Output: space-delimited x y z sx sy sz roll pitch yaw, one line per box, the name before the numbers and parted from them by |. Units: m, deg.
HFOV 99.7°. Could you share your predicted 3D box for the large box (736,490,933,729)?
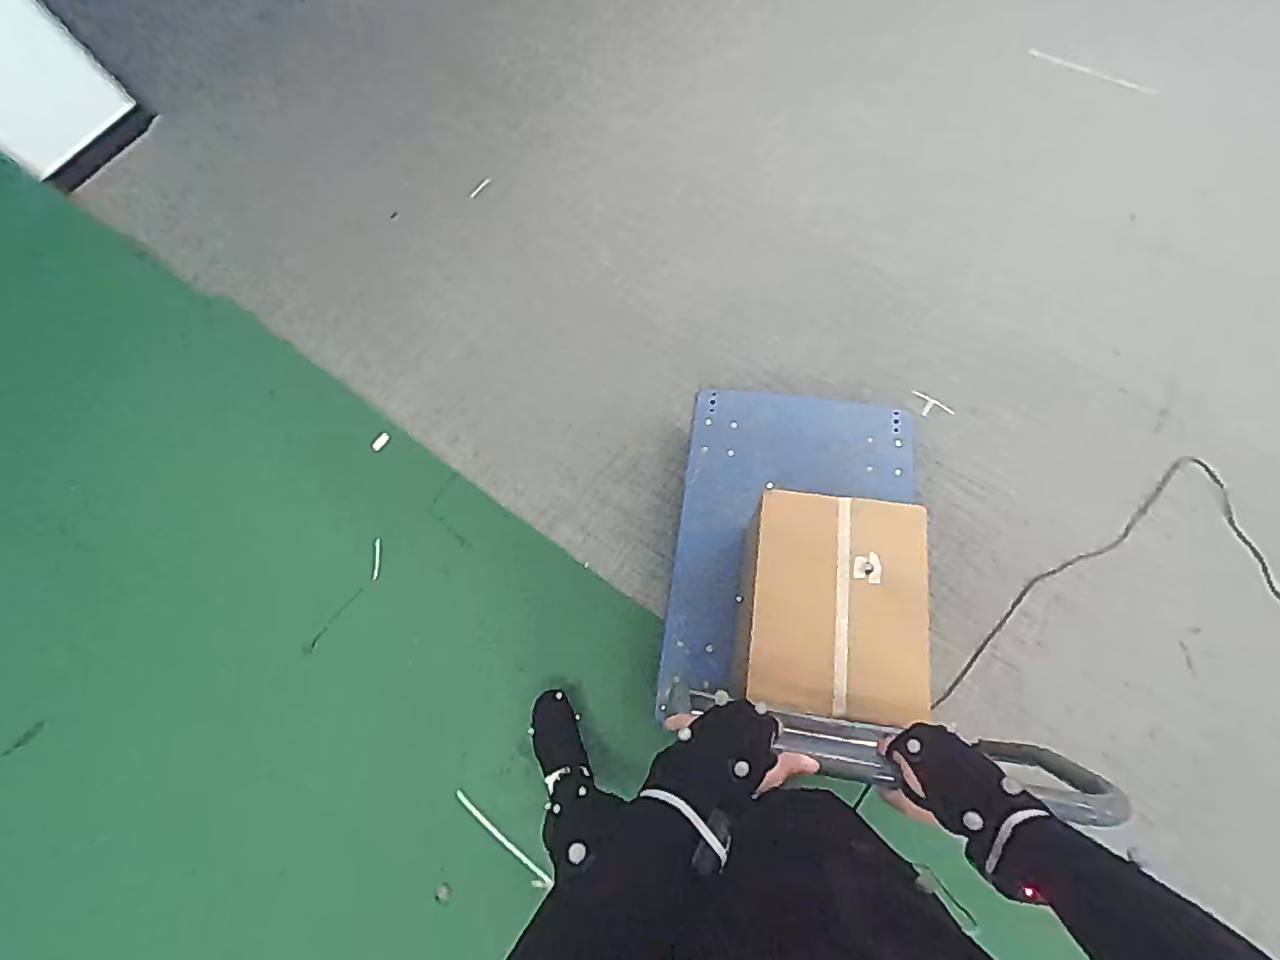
large box | 0.378 0.272 1.127 0.320 0.320 0.408 7 70 6
